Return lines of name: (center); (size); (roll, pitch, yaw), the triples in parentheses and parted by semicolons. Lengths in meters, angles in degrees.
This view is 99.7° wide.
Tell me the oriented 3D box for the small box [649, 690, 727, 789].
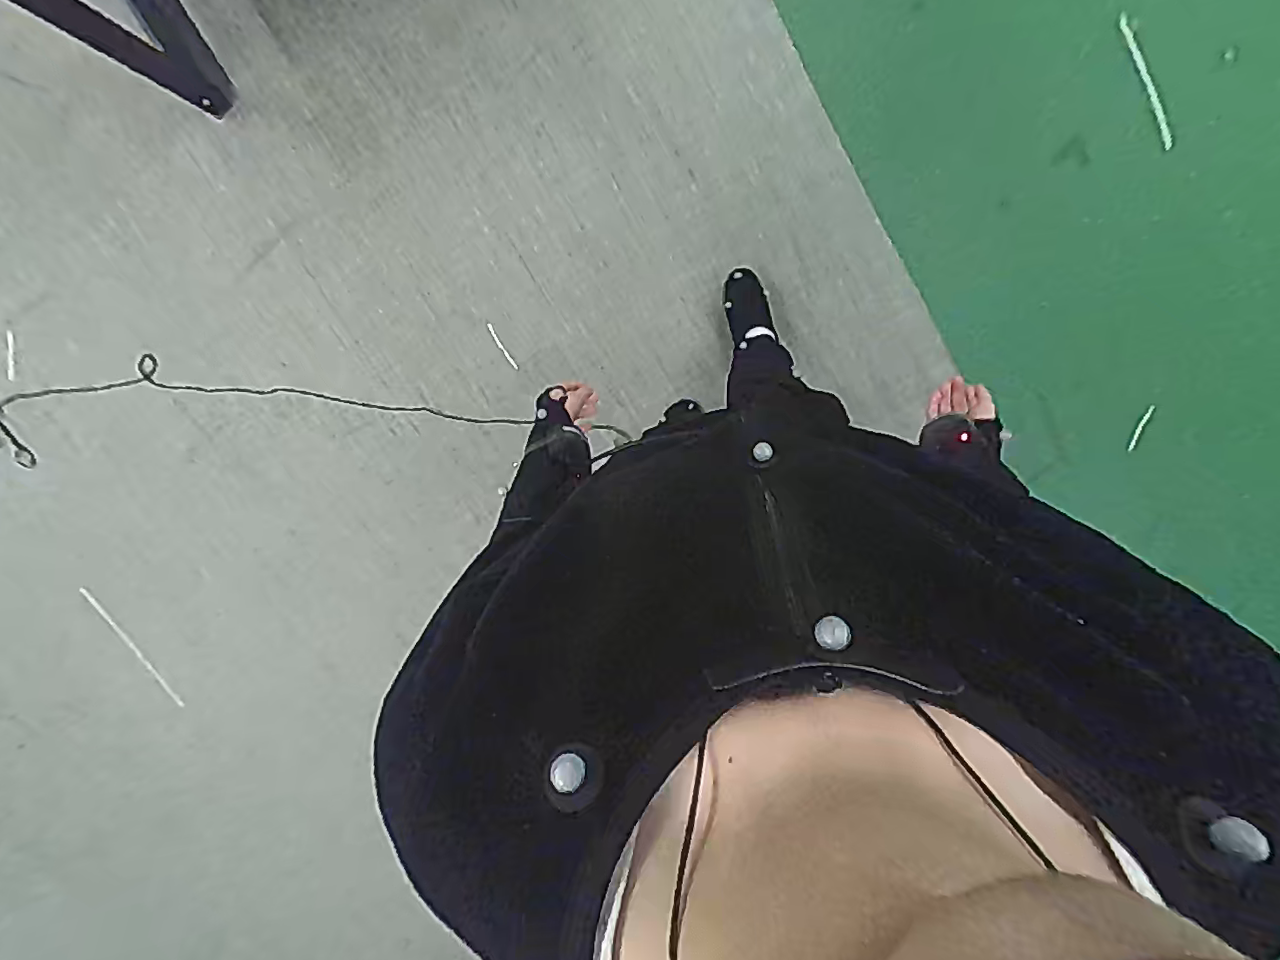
small box: (0.132, 0.725, 1.536); (0.168, 0.176, 0.179); (-23, 100, 7)
